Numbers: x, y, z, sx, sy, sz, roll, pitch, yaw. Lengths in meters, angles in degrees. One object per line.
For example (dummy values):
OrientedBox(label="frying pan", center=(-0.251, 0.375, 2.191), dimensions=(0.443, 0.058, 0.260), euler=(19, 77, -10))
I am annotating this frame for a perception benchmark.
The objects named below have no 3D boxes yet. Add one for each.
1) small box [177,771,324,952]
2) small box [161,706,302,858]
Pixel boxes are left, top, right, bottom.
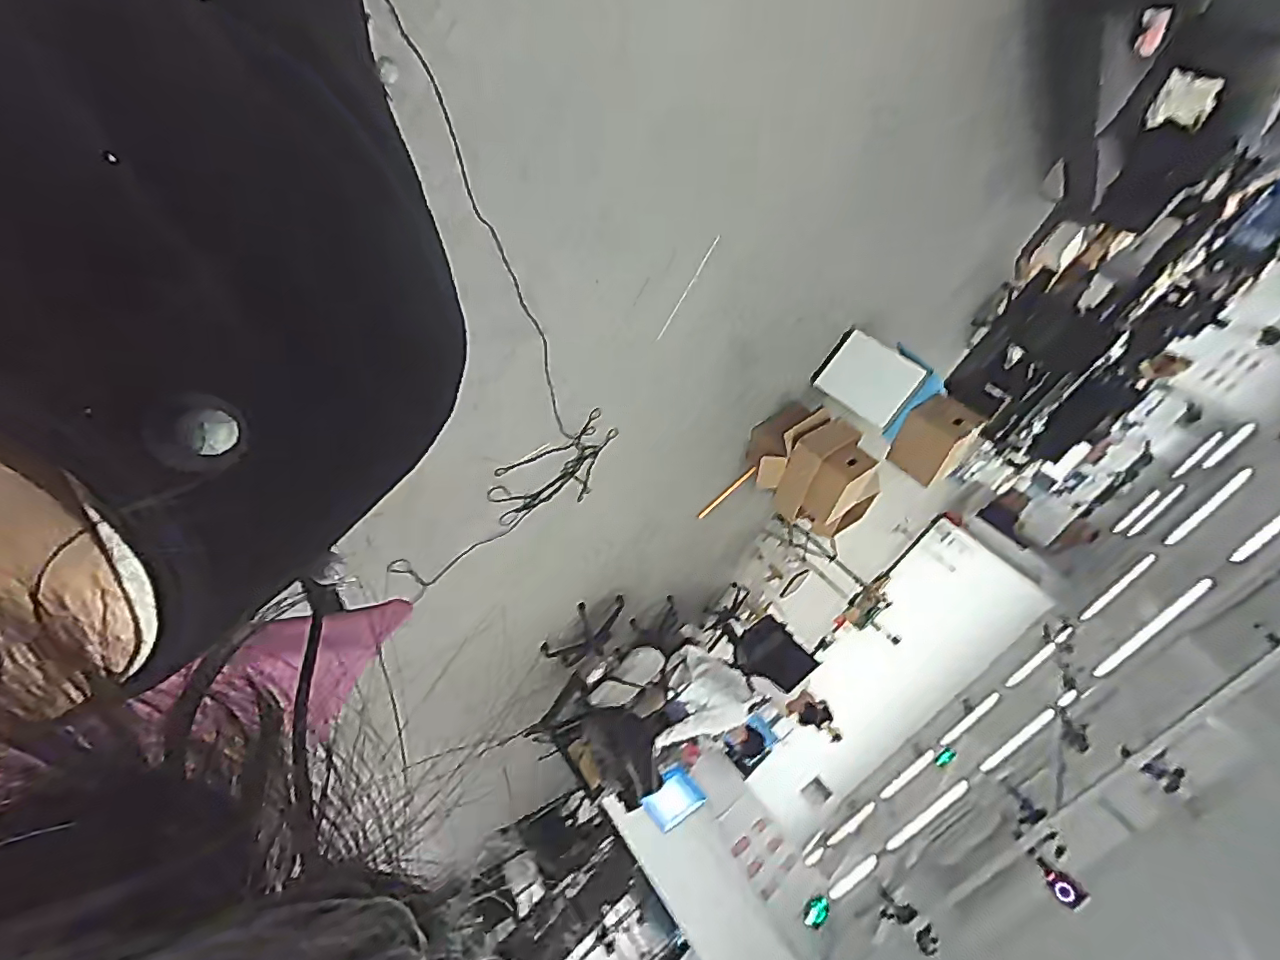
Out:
OrientedBox(label="small box", center=(-0.706, 0.674, 0.975), dimensions=(0.179, 0.176, 0.168), euler=(-2, 129, -50))
OrientedBox(label="small box", center=(-0.804, 0.579, 1.062), dimensions=(0.179, 0.176, 0.168), euler=(1, 126, -50))
